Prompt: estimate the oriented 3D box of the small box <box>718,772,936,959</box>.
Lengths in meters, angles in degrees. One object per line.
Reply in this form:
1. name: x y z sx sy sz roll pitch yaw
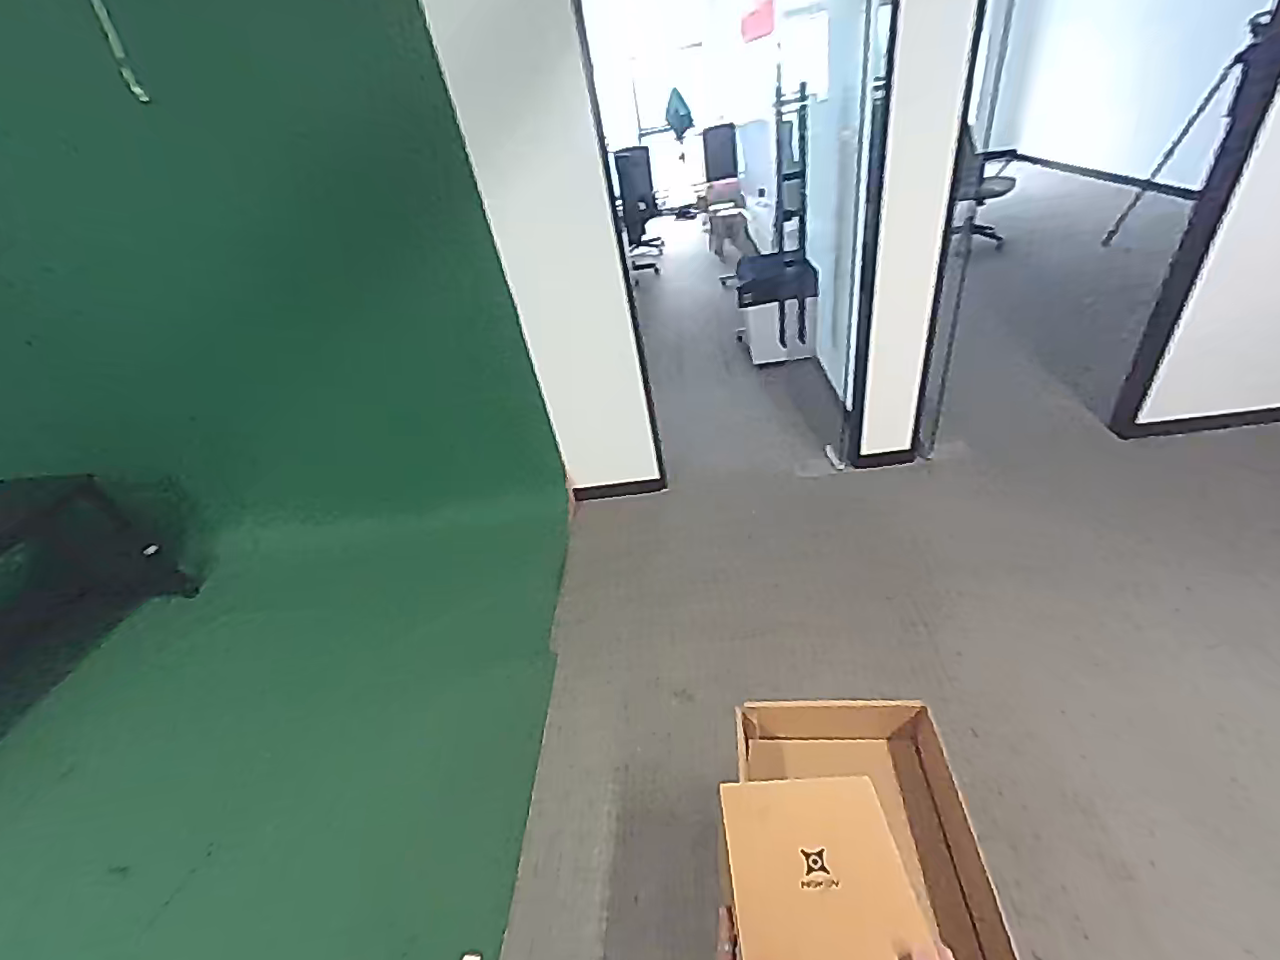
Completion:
1. small box: 0.171 0.434 0.556 0.168 0.176 0.179 -4 30 2
